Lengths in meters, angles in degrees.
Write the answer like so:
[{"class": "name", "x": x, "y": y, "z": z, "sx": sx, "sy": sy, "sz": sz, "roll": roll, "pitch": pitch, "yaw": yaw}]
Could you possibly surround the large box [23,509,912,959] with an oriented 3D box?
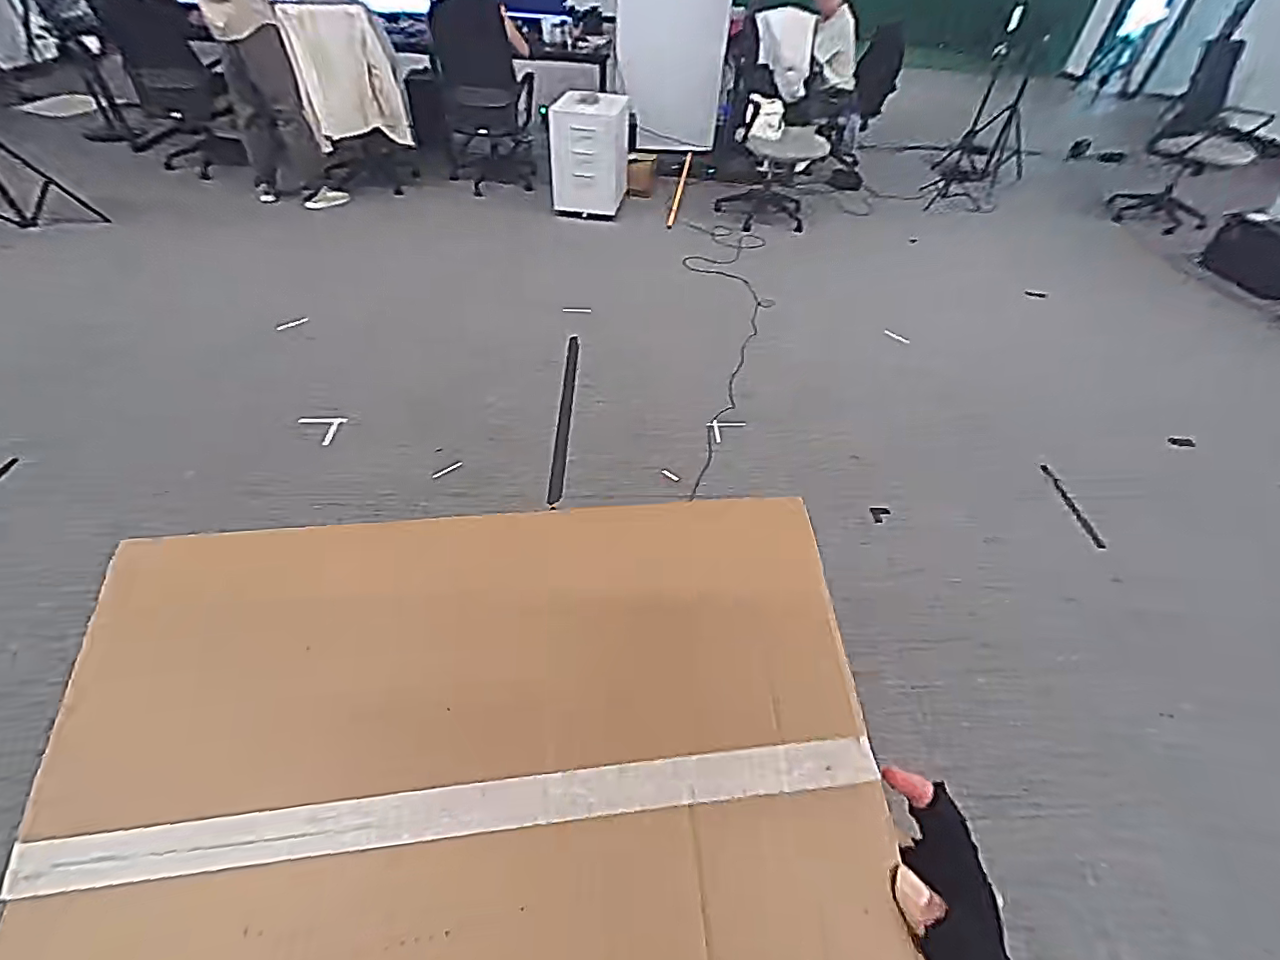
[{"class": "large box", "x": -0.086, "y": 0.235, "z": 0.406, "sx": 0.408, "sy": 0.320, "sz": 0.320, "roll": -3, "pitch": 64, "yaw": -6}]
